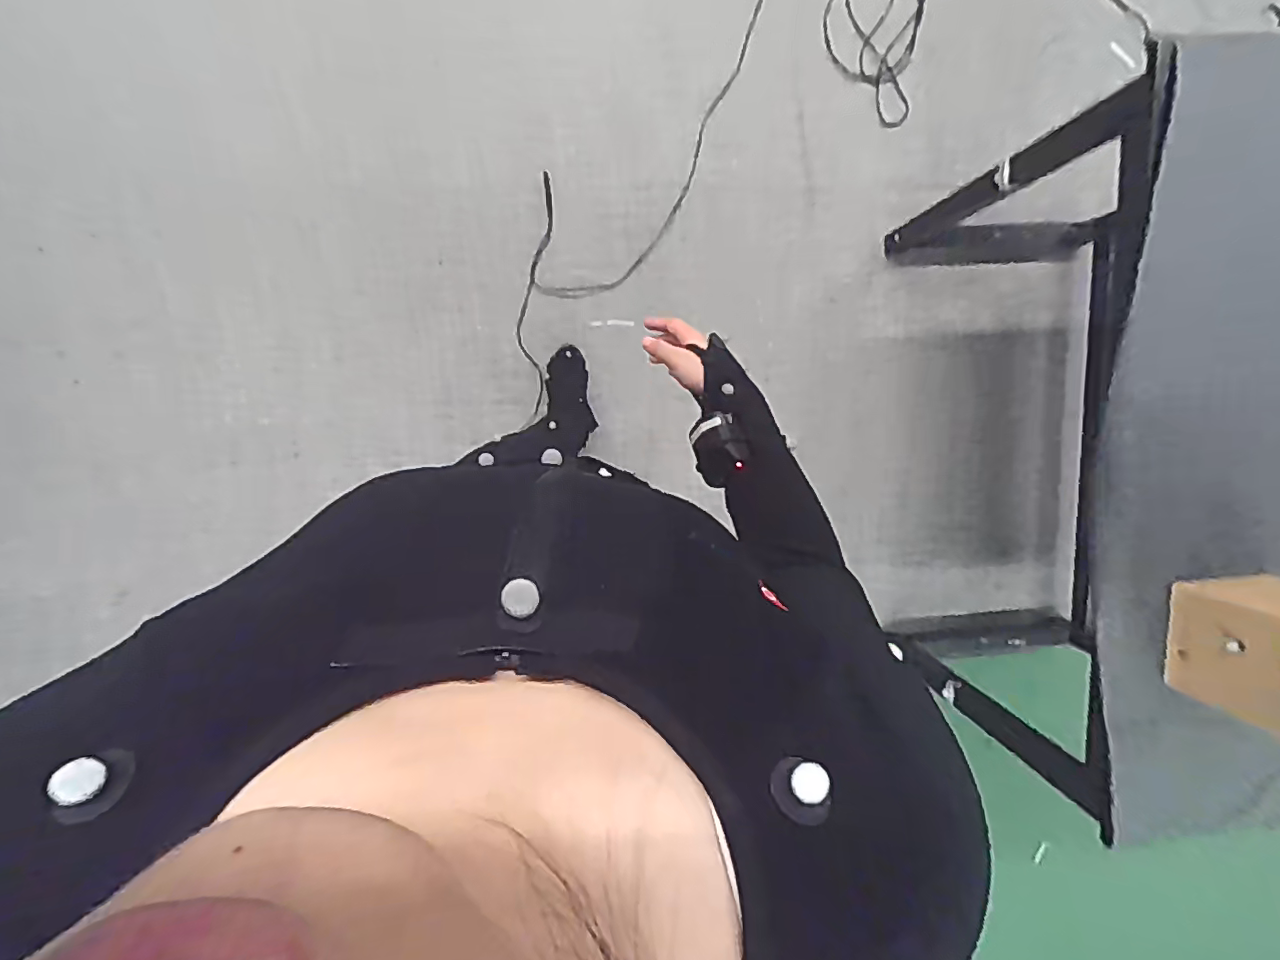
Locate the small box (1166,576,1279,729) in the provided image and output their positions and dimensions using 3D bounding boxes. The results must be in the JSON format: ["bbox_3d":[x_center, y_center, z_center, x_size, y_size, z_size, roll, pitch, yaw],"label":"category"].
[{"bbox_3d":[0.906,0.240,0.765,0.179,0.176,0.168,-3,97,-6],"label":"small box"}]
